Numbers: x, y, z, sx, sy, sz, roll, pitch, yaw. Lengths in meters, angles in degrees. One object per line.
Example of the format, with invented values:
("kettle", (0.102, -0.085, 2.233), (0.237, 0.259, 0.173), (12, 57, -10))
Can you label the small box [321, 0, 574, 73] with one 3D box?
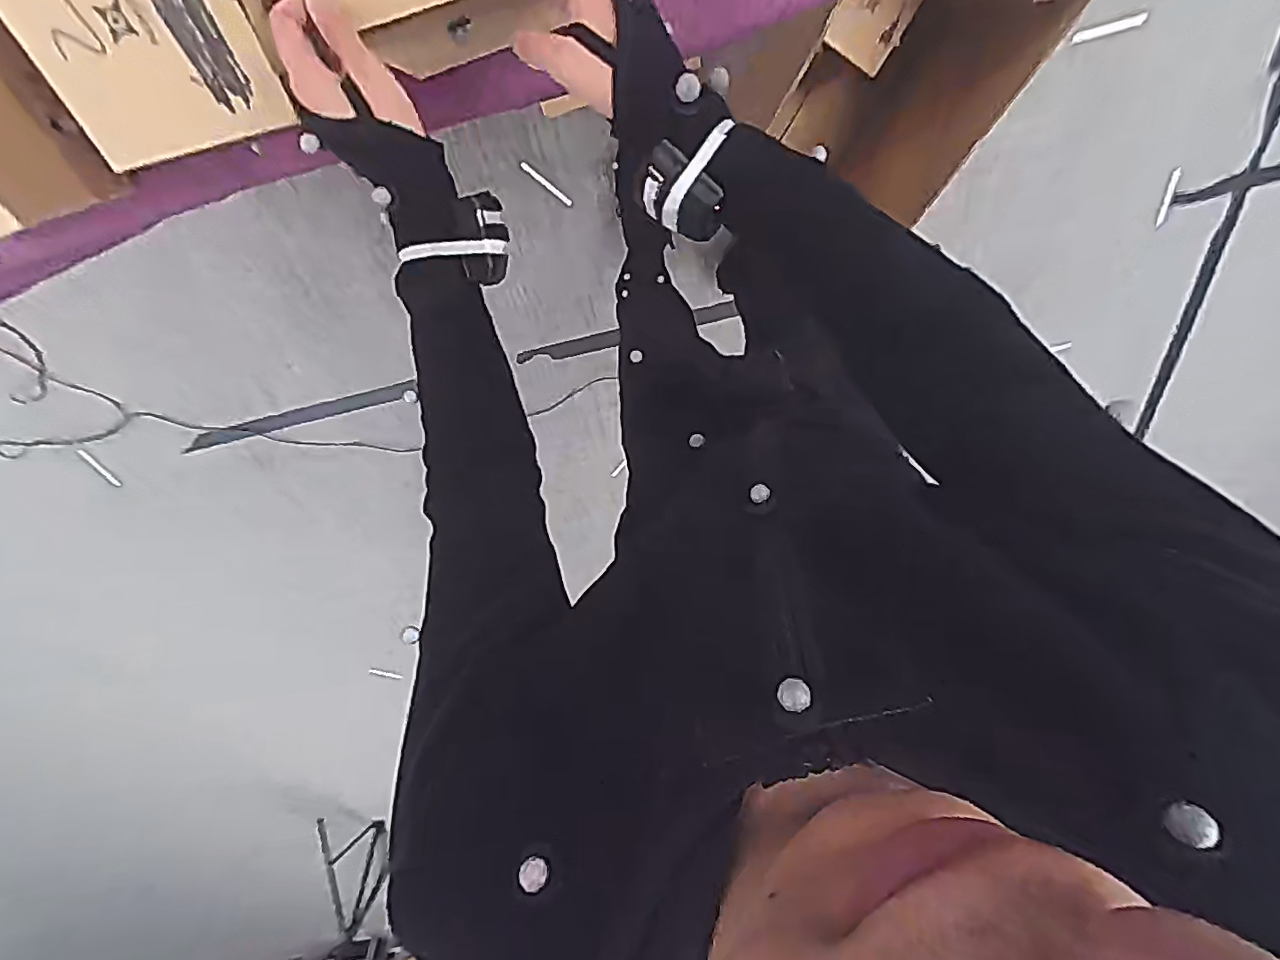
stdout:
("small box", (-0.159, -0.443, 0.414), (0.179, 0.176, 0.168), (-16, 120, 6))

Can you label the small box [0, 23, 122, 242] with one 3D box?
("small box", (-0.650, -0.301, 0.487), (0.179, 0.176, 0.168), (-15, 129, 5))
